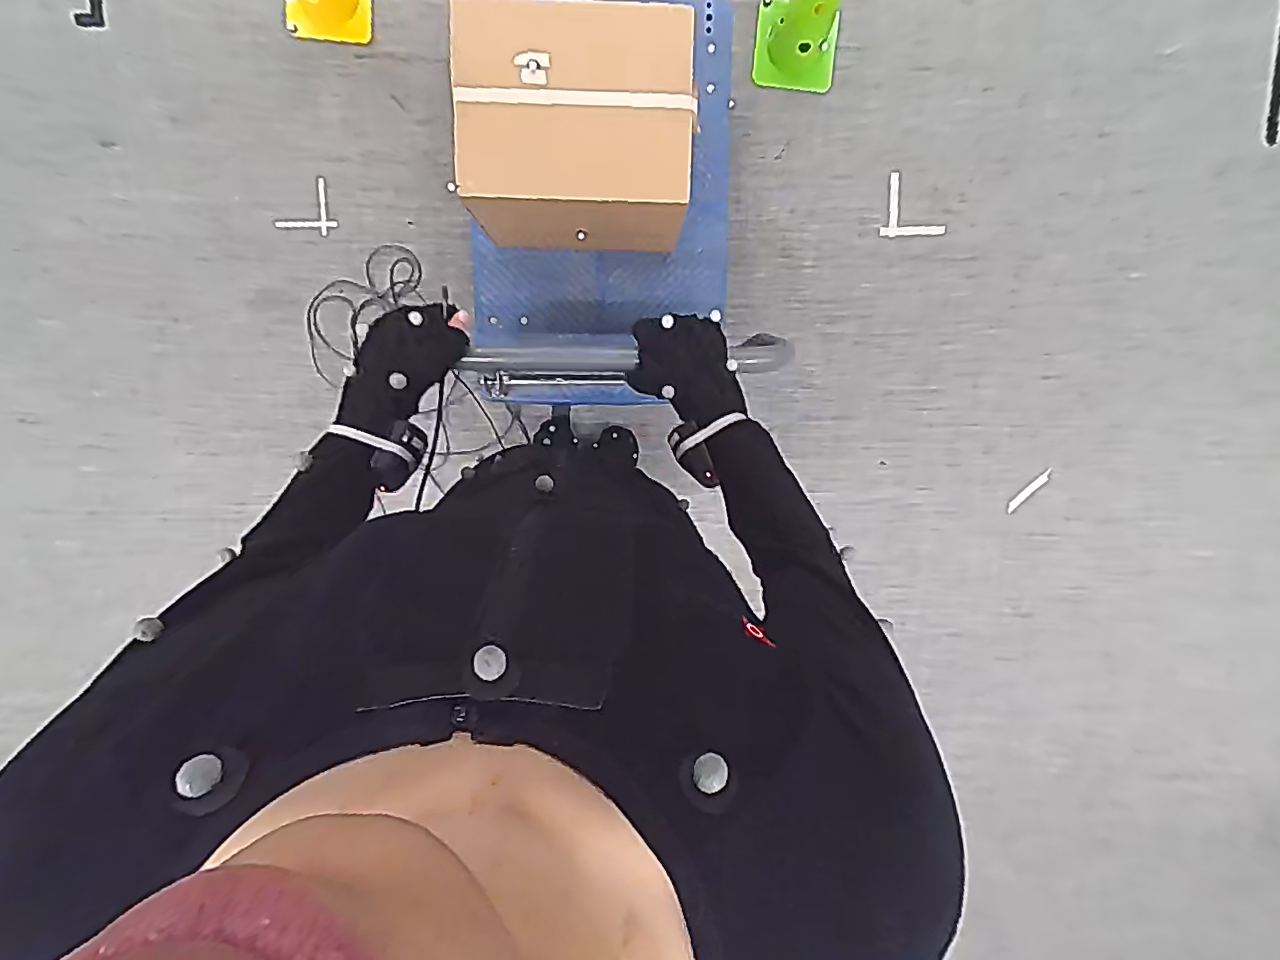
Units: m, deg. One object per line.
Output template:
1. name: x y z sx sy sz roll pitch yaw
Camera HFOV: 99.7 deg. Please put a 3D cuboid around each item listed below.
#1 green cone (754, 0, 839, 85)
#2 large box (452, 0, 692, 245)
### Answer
1. green cone: 0.394 -1.068 1.166 0.202 0.368 0.200 4 98 -4
2. large box: -0.114 -0.662 1.060 0.408 0.320 0.320 1 98 -1
